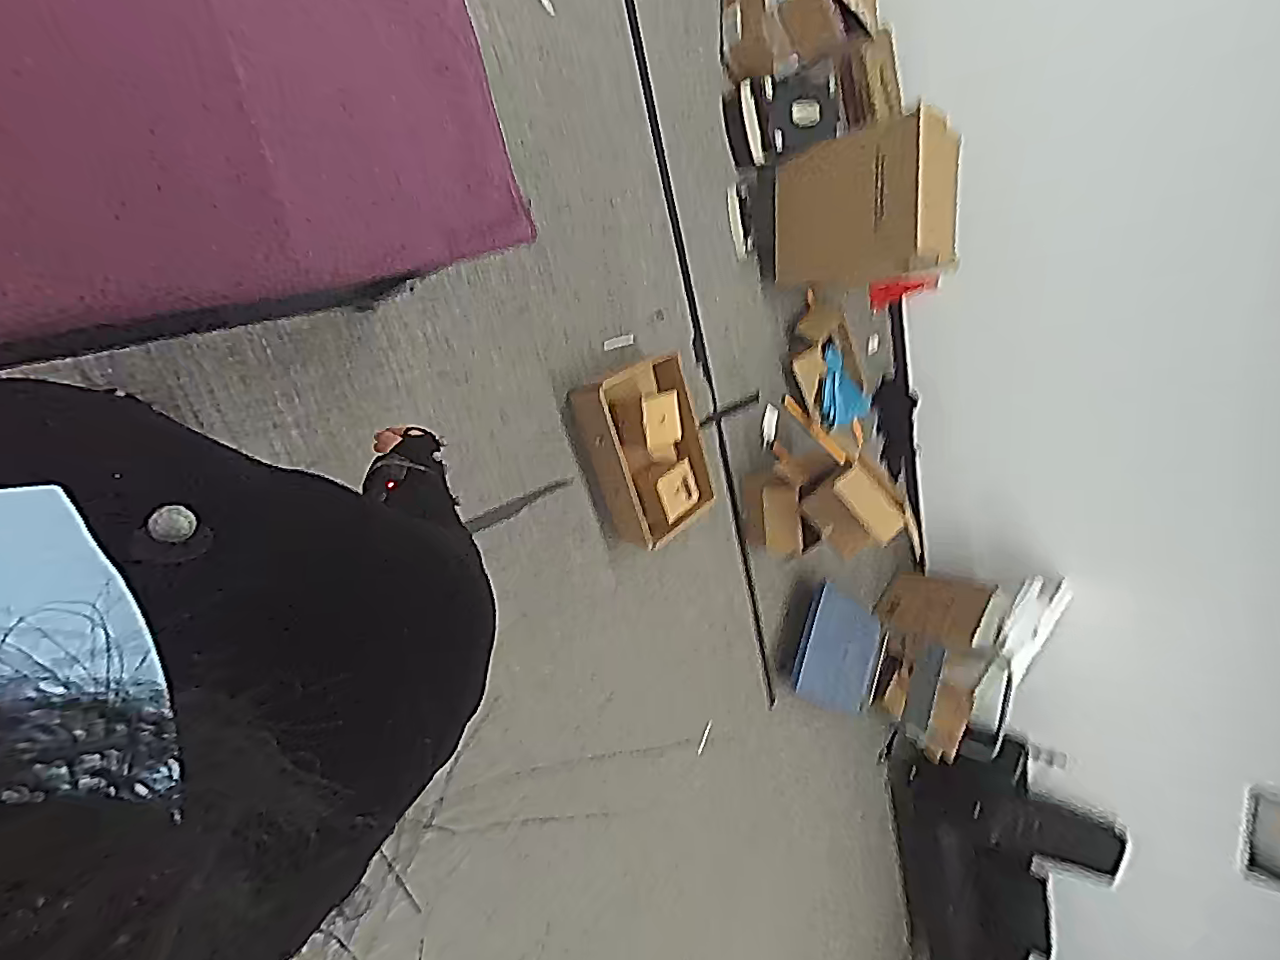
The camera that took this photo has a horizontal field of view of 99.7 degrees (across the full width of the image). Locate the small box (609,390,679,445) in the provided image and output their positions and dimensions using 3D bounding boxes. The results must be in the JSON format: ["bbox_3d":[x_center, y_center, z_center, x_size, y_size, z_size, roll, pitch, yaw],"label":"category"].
[{"bbox_3d":[0.014,-0.225,1.917,0.179,0.176,0.168,-22,109,-41],"label":"small box"}]
